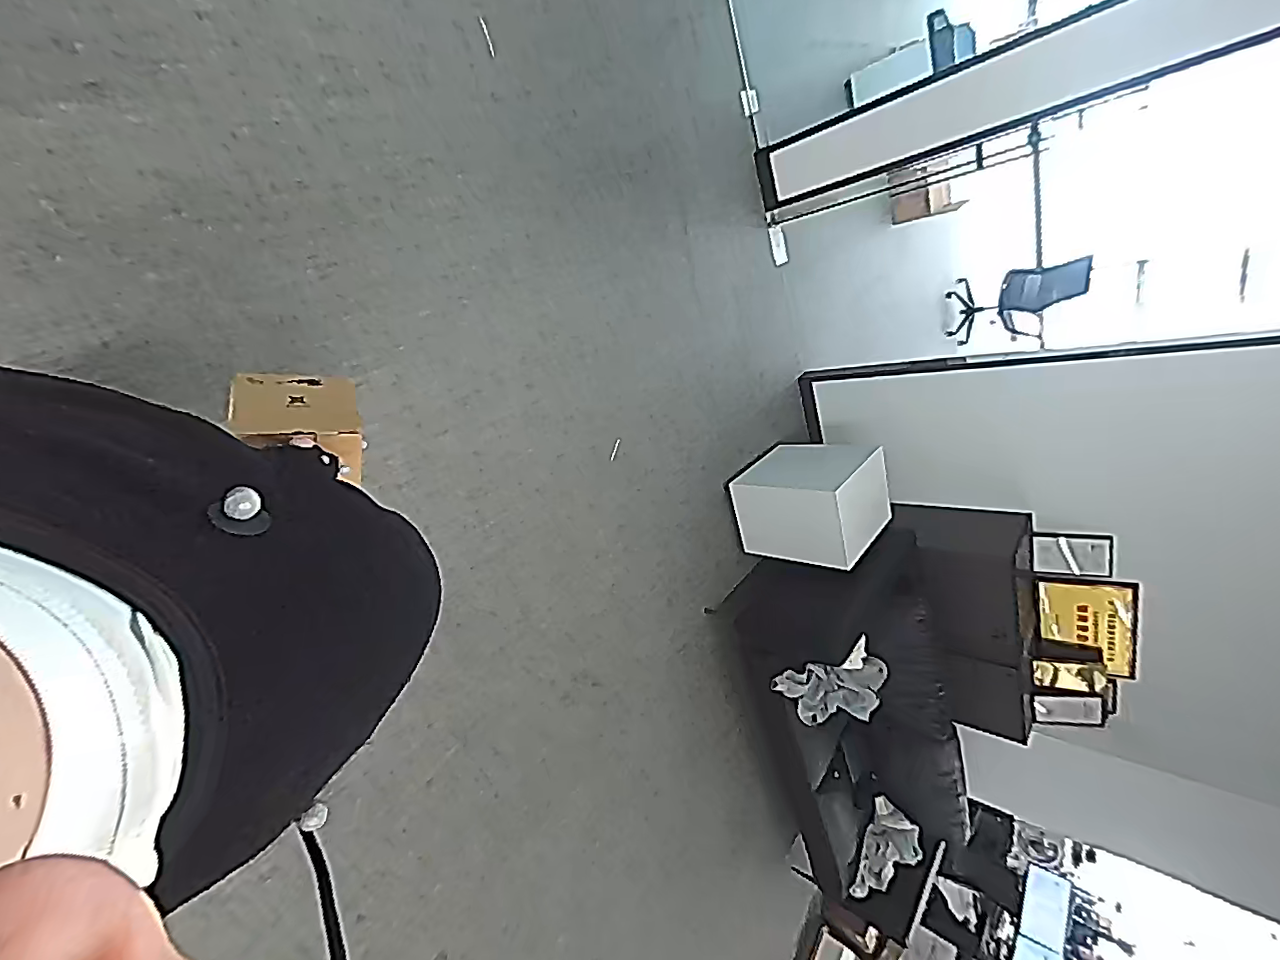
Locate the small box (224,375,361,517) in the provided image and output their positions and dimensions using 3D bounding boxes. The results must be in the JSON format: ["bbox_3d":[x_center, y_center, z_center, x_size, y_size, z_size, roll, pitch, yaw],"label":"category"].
[{"bbox_3d":[-0.555,-0.054,0.873,0.168,0.179,0.176,-7,131,-32],"label":"small box"}]
